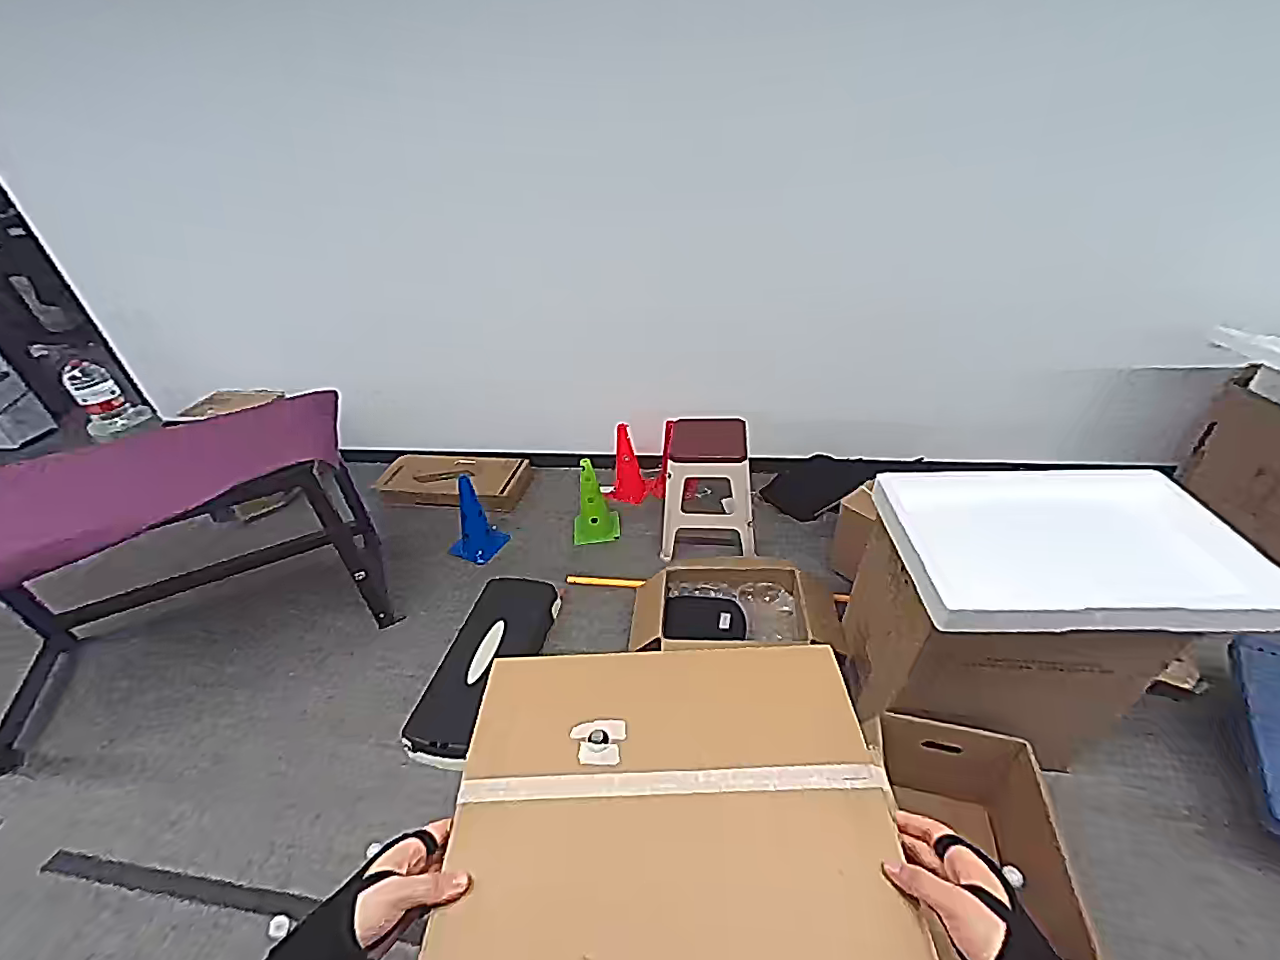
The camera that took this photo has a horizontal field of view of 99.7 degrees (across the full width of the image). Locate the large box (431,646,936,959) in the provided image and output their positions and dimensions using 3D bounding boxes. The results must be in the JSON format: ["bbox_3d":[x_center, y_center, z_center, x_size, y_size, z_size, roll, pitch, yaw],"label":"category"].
[{"bbox_3d":[0.042,0.424,0.614,0.408,0.320,0.320,-5,34,3],"label":"large box"}]
